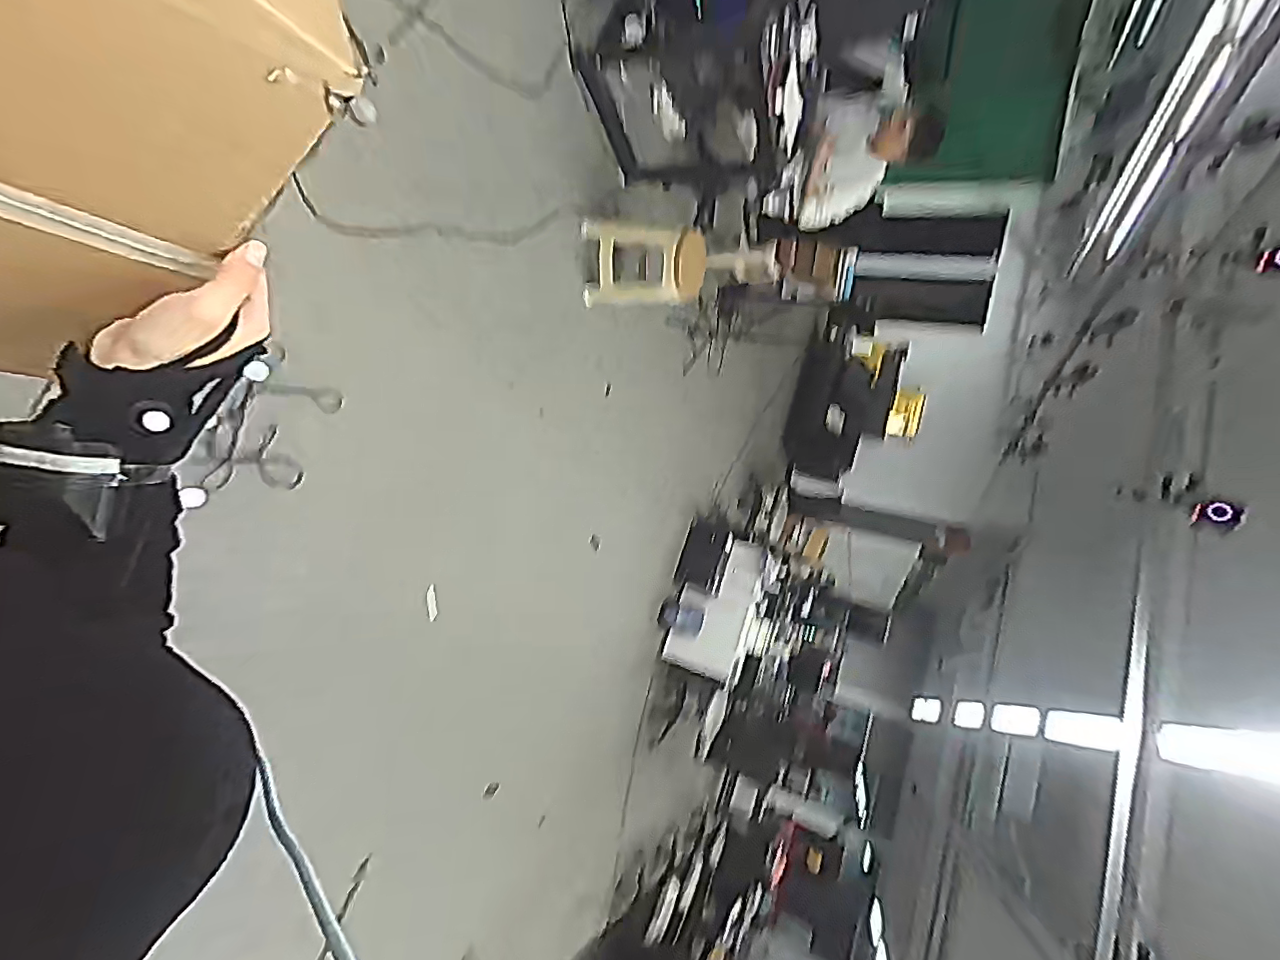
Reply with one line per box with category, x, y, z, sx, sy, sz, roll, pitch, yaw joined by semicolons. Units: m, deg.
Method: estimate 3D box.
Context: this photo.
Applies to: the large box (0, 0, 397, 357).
large box;-0.386;-0.292;0.190;0.408;0.320;0.320;4;63;-60
